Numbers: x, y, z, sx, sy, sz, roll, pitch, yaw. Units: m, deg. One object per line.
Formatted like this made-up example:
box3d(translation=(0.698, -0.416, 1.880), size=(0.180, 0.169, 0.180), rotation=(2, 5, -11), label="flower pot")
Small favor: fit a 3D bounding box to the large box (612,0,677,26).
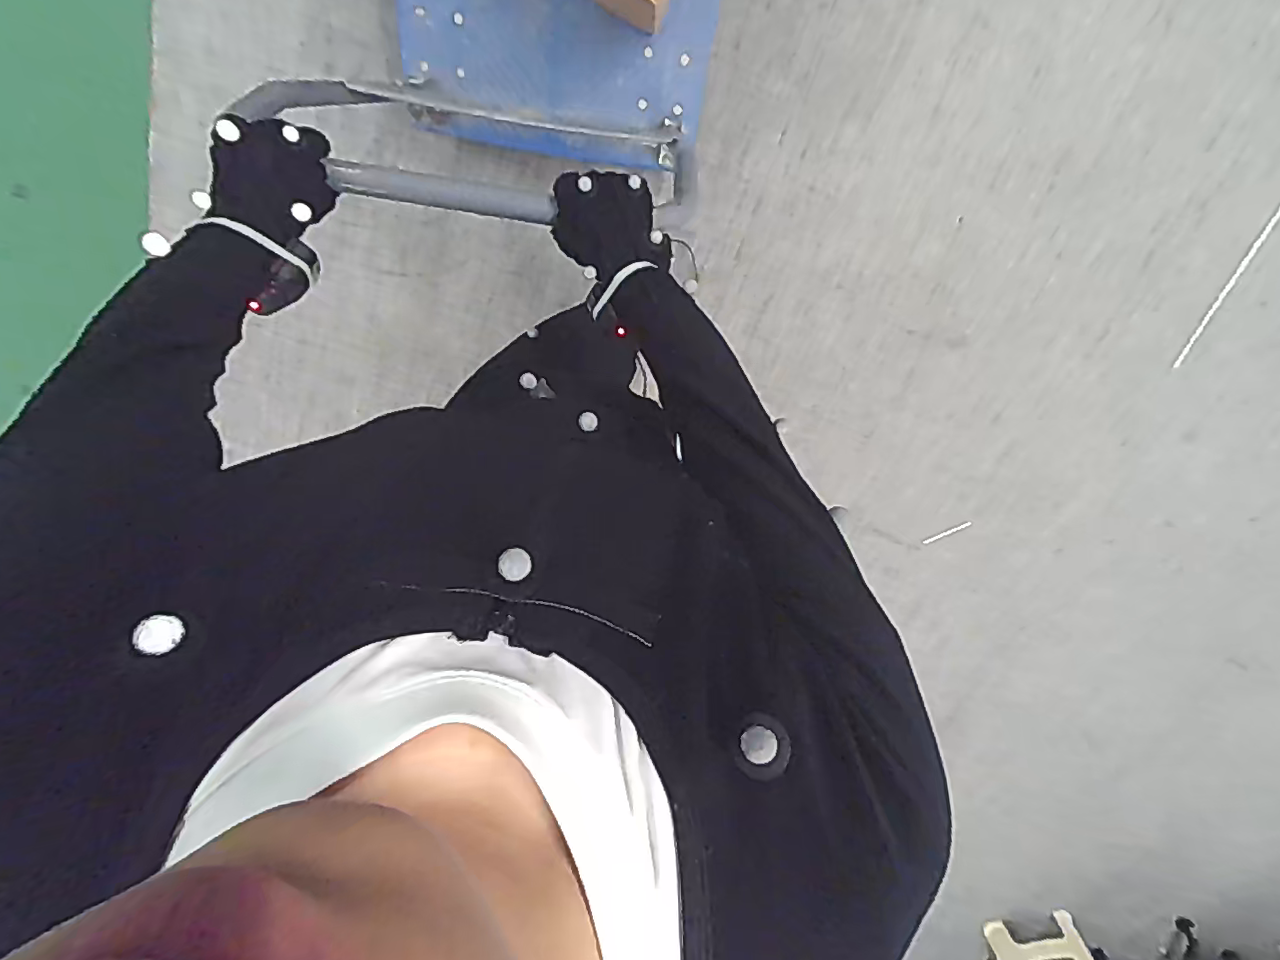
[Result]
box3d(translation=(-0.081, -0.926, 0.754), size=(0.408, 0.320, 0.320), rotation=(22, 121, -11), label="large box")
